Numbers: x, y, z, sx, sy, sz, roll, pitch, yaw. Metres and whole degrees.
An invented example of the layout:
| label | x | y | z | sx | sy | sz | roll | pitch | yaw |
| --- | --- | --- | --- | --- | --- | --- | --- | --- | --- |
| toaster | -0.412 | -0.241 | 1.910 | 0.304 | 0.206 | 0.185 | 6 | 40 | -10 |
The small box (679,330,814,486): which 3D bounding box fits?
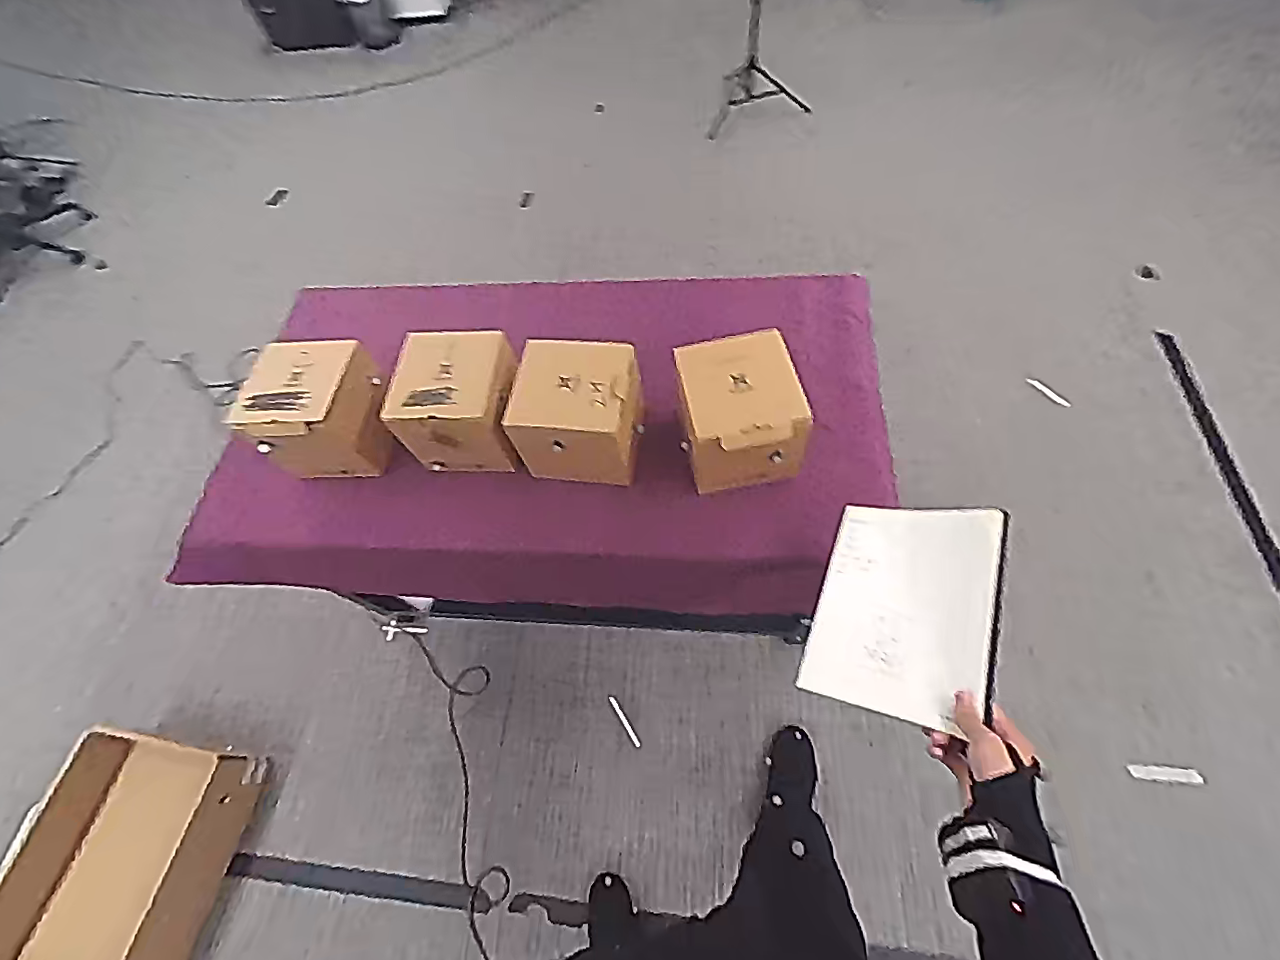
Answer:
| label | x | y | z | sx | sy | sz | roll | pitch | yaw |
| --- | --- | --- | --- | --- | --- | --- | --- | --- | --- |
| small box | 0.159 | -0.103 | 0.855 | 0.168 | 0.176 | 0.179 | -10 | 61 | 1 |
